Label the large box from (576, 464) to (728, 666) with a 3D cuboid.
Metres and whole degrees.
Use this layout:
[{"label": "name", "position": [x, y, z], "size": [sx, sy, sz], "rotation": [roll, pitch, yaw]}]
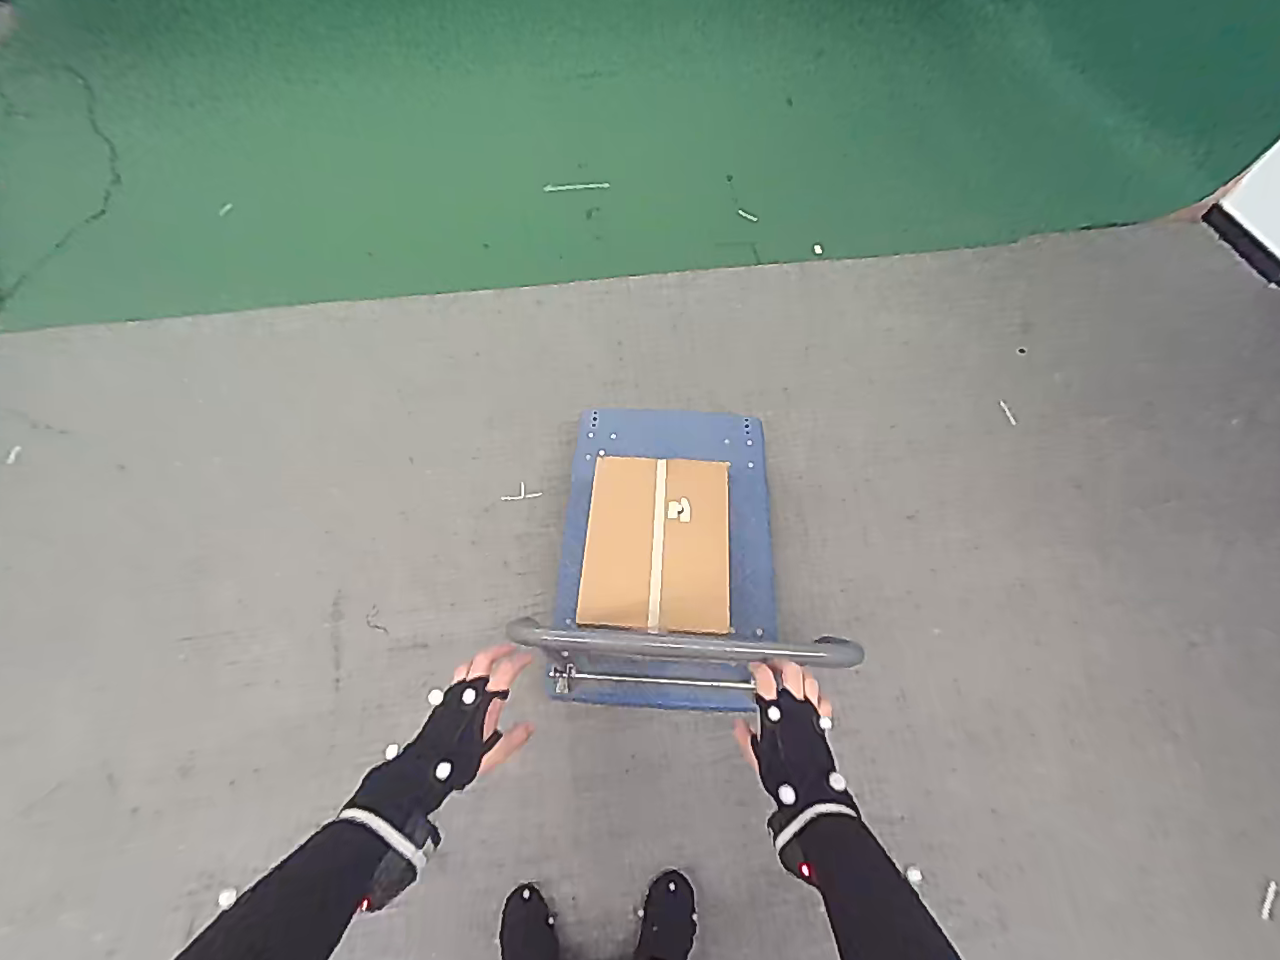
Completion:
[{"label": "large box", "position": [0.032, 0.214, 1.317], "size": [0.320, 0.320, 0.408], "rotation": [4, 59, 1]}]
